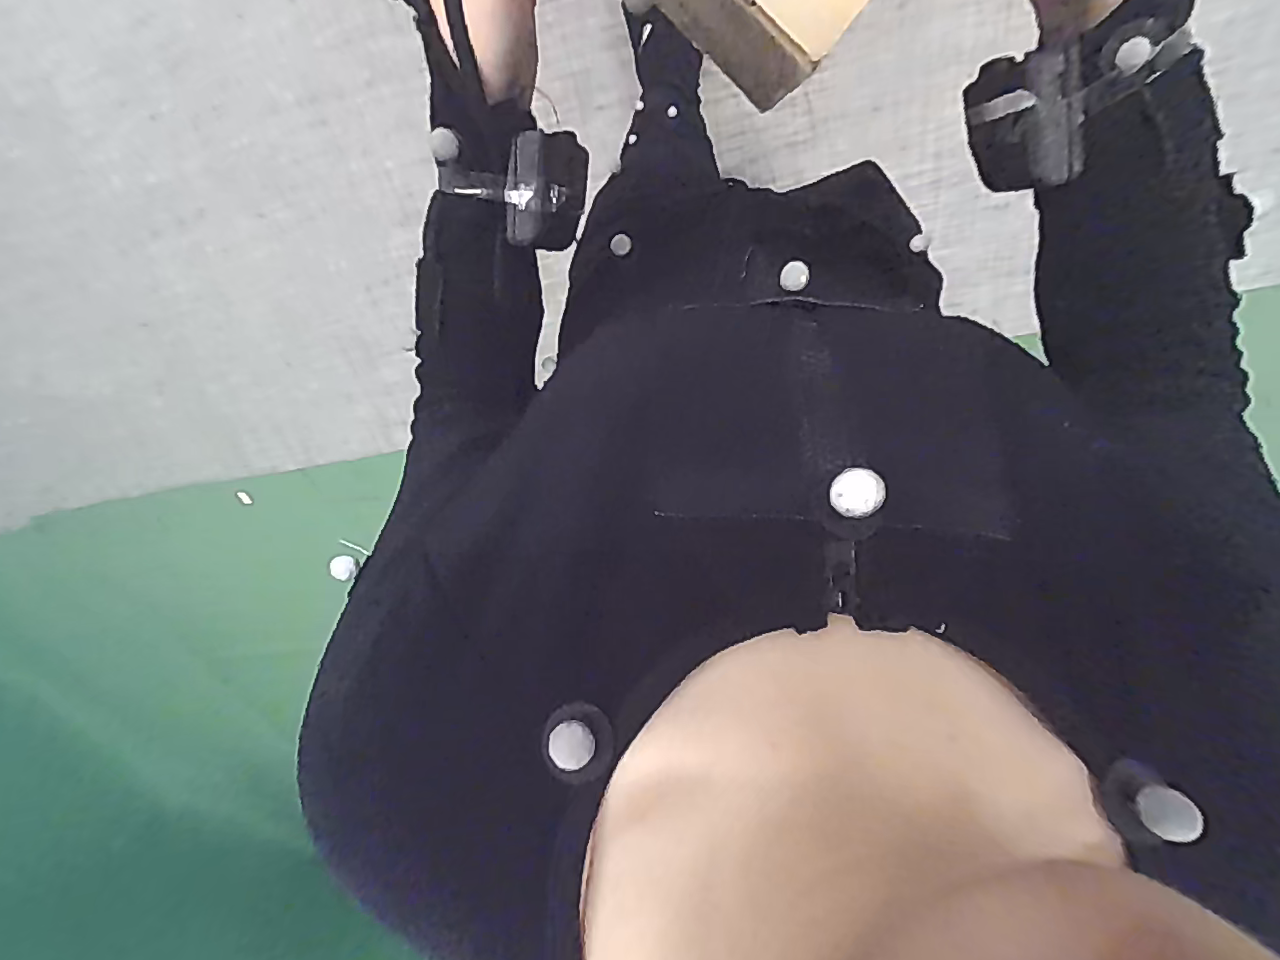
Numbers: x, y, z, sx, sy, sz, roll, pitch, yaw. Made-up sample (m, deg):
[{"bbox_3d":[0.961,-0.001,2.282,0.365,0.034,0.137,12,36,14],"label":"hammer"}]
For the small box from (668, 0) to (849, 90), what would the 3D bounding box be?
[{"bbox_3d":[0.057,-0.294,0.210,0.168,0.176,0.179,36,119,-14],"label":"small box"}]
